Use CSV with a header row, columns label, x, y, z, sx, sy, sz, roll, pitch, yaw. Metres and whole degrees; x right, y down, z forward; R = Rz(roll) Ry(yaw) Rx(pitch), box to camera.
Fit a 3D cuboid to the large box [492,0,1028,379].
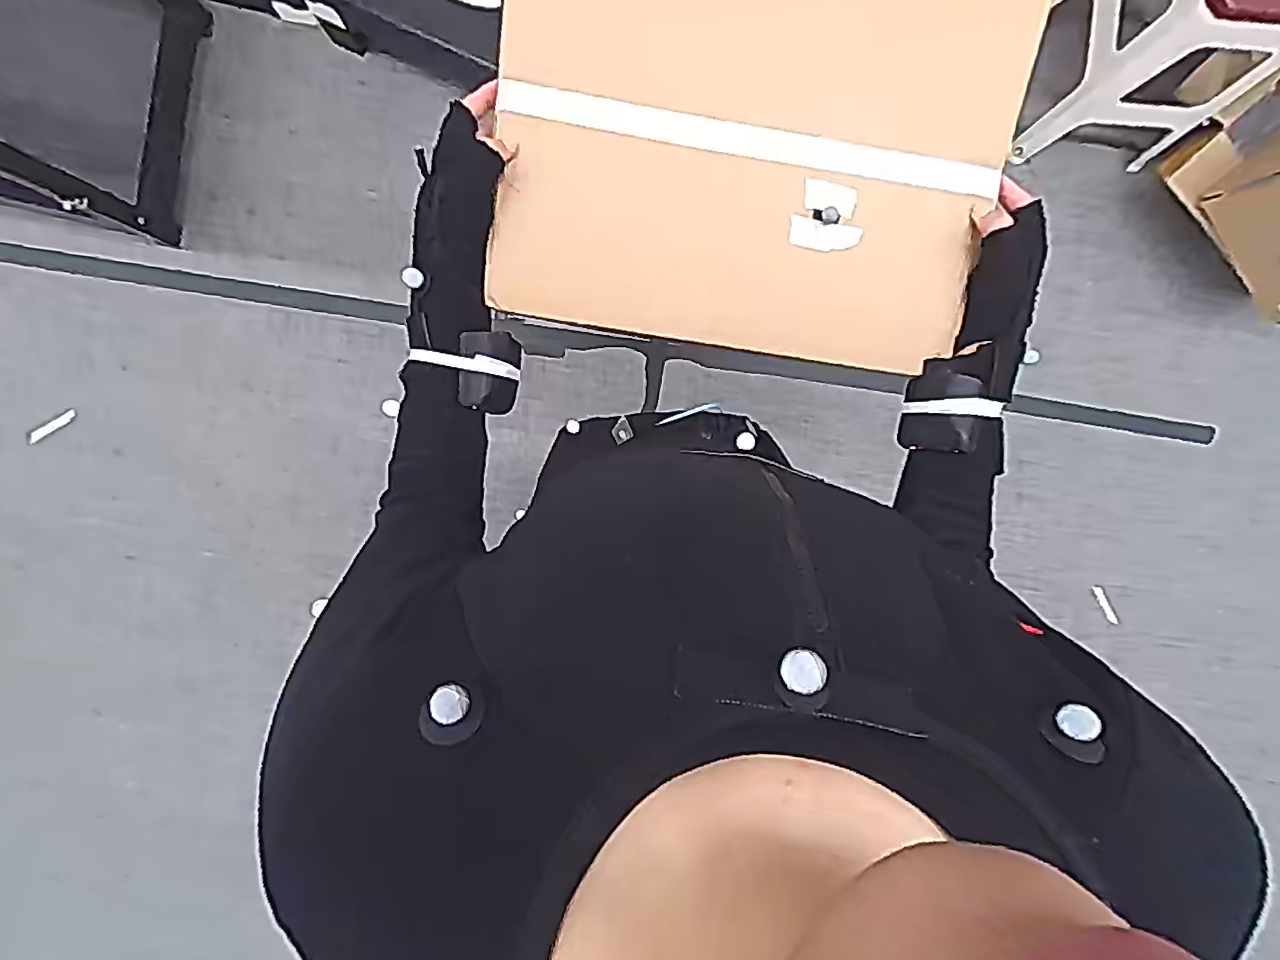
label,x,y,z,sx,sy,sz,roll,pitch,yaw
large box,0.079,-0.299,0.584,0.408,0.320,0.320,8,105,-5
